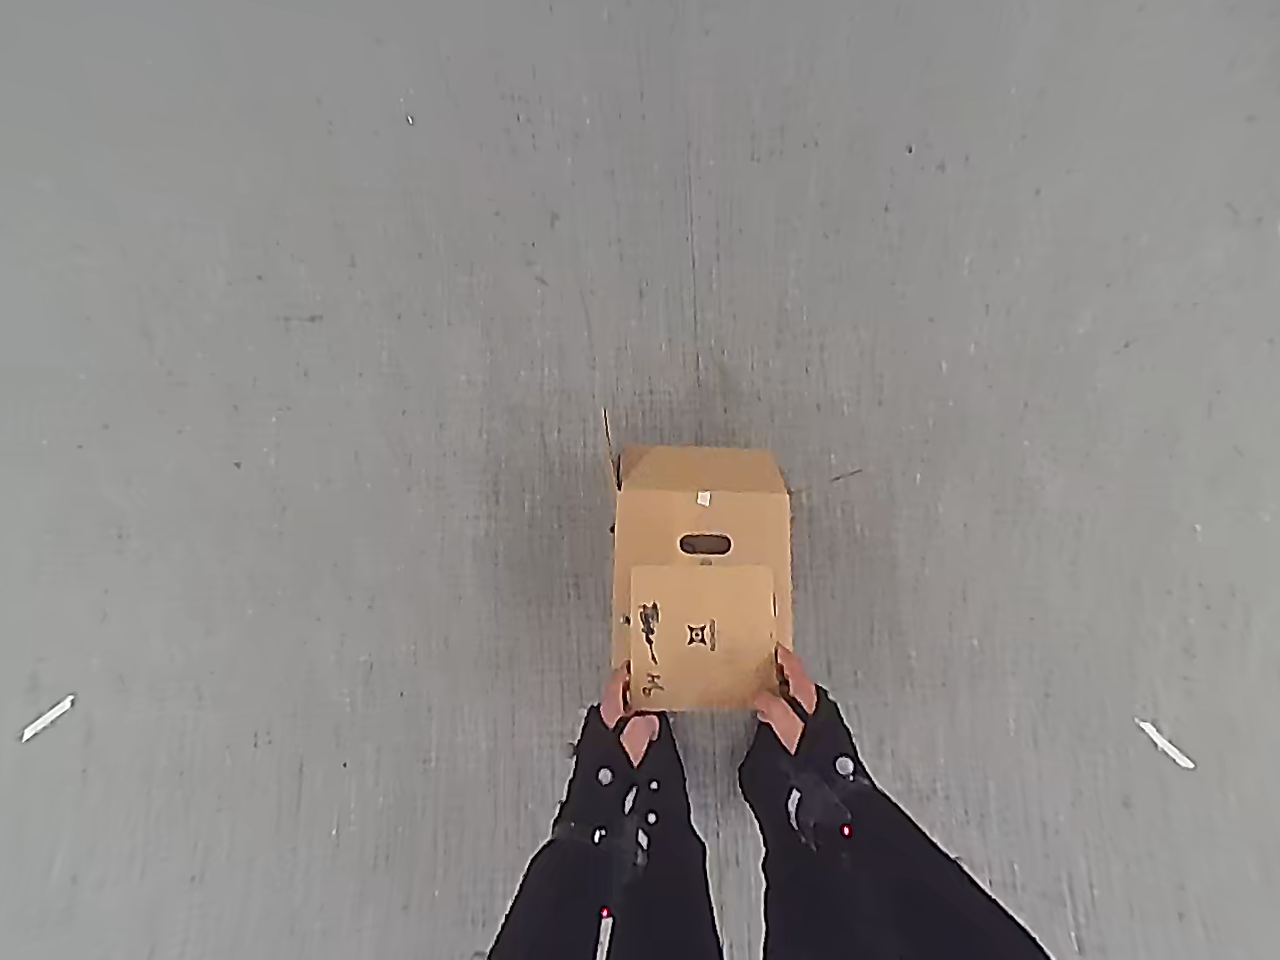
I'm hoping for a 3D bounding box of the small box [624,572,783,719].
[{"bbox_3d":[0.072,0.206,0.703,0.179,0.176,0.168,1,78,-3],"label":"small box"}]
